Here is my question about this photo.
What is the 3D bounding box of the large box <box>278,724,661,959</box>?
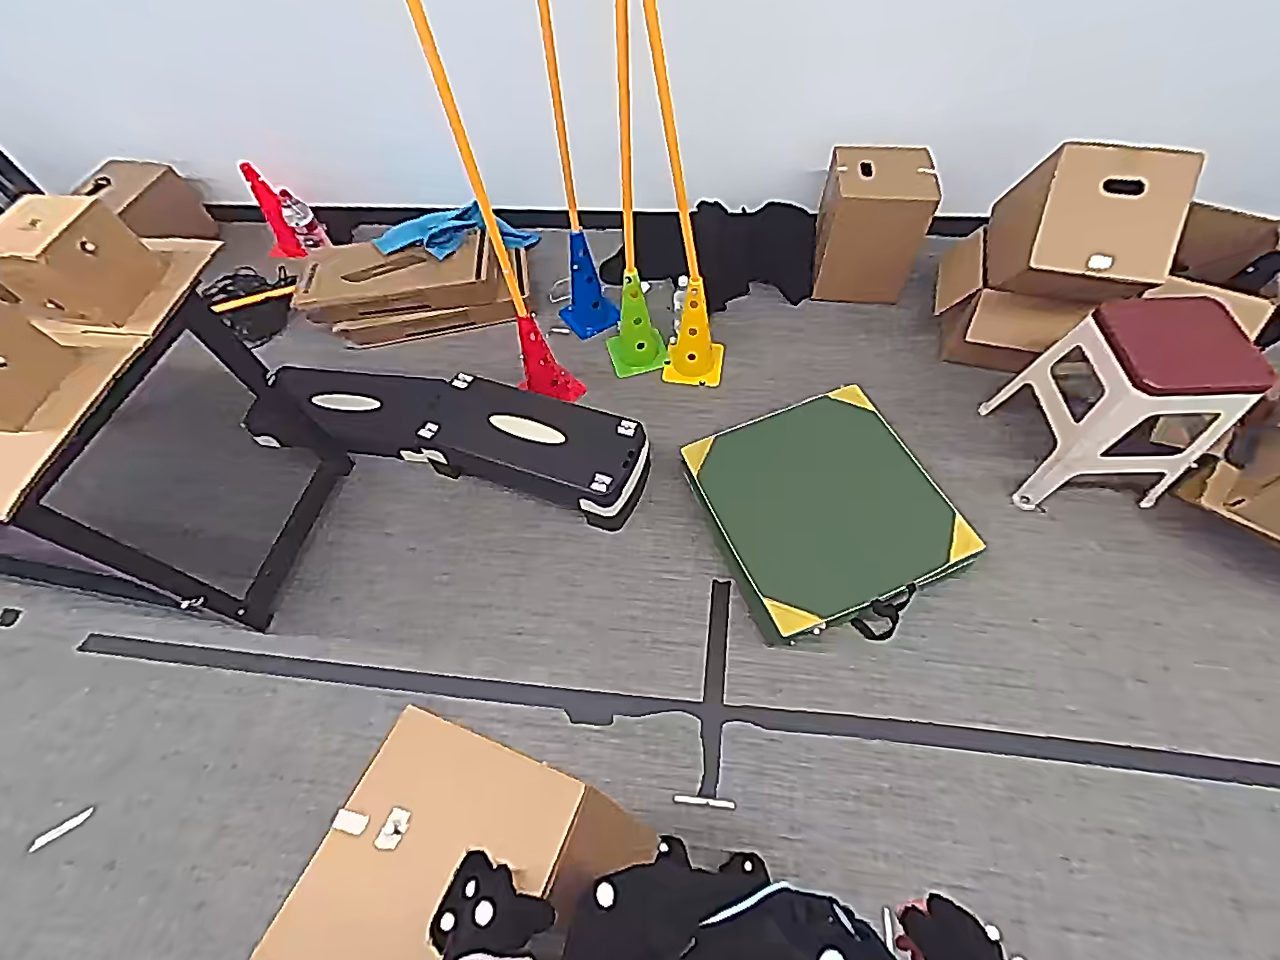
[{"bbox_3d":[-0.202,0.607,0.786,0.320,0.408,0.320,10,54,26],"label":"large box"}]
